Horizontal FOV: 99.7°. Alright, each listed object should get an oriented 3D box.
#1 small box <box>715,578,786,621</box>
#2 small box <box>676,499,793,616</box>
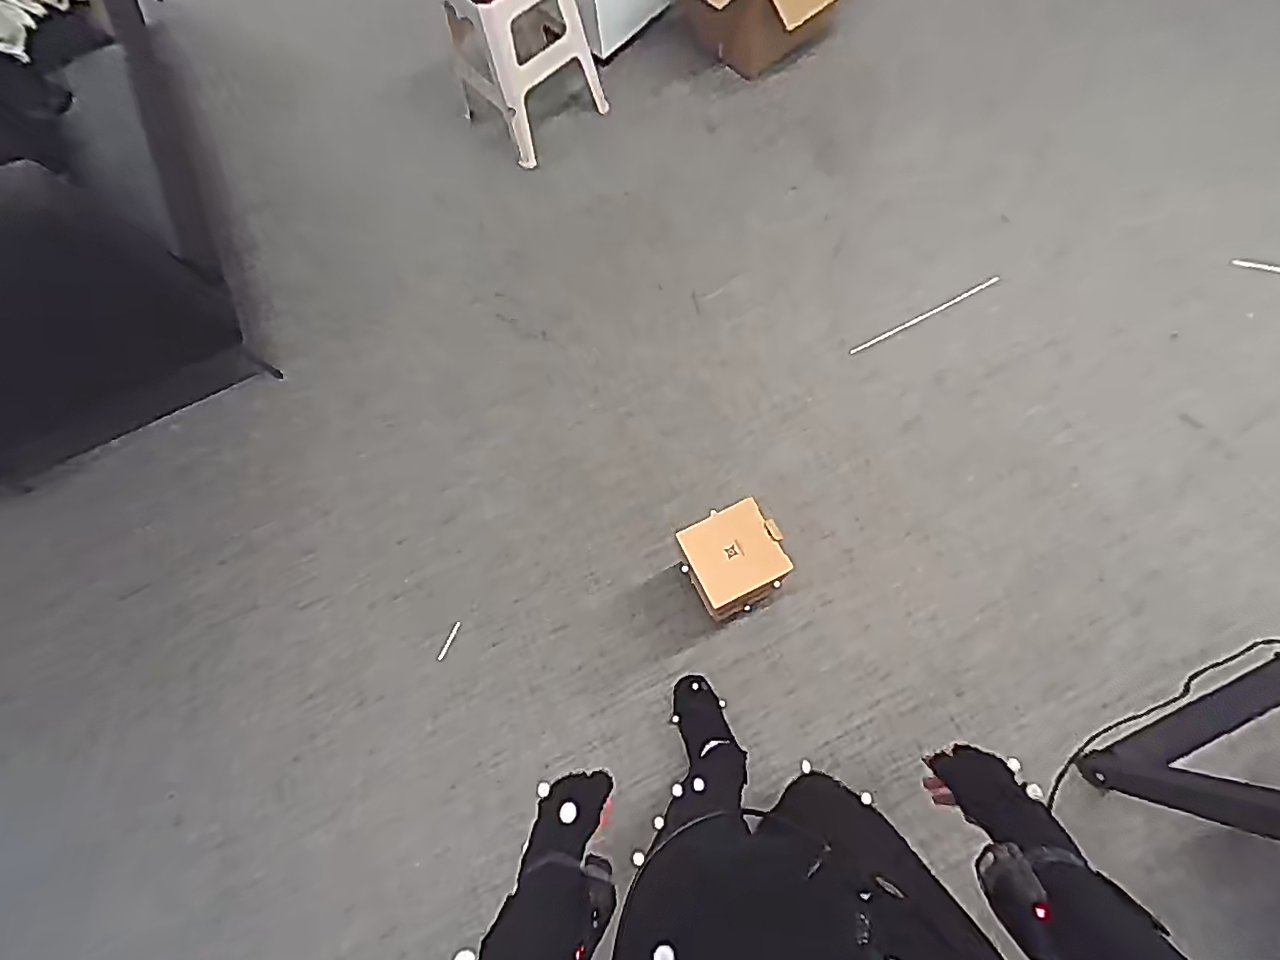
[{"bbox_3d":[0.218,0.219,1.281,0.168,0.176,0.179,-27,72,-4],"label":"small box"},{"bbox_3d":[0.190,0.169,1.126,0.179,0.176,0.168,-27,71,-5],"label":"small box"}]
